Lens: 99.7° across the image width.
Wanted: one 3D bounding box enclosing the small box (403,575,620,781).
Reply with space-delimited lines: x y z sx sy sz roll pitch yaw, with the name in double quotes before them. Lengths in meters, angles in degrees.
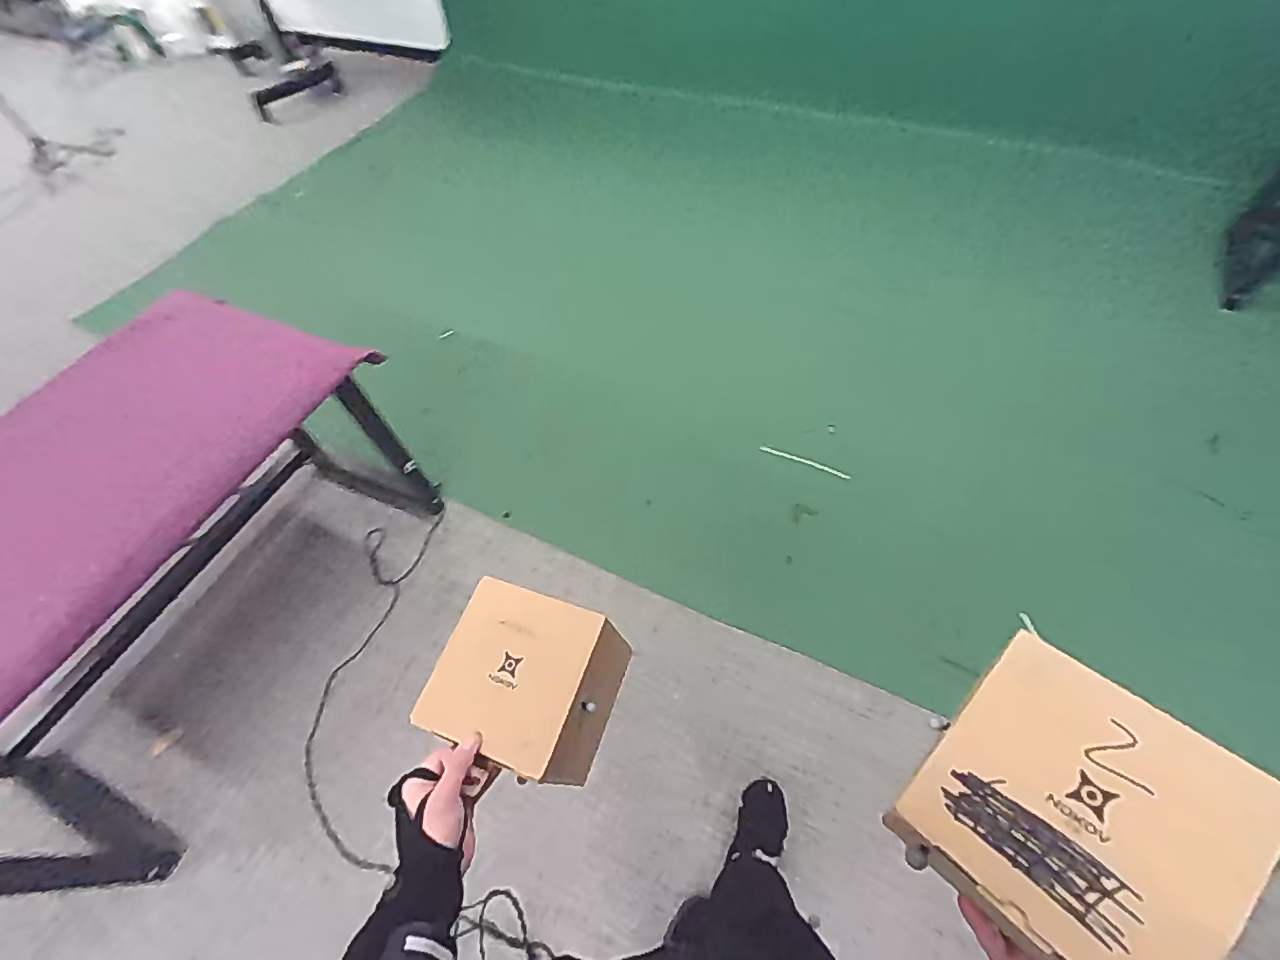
"small box" -0.136 0.243 0.652 0.168 0.176 0.179 13 63 18
